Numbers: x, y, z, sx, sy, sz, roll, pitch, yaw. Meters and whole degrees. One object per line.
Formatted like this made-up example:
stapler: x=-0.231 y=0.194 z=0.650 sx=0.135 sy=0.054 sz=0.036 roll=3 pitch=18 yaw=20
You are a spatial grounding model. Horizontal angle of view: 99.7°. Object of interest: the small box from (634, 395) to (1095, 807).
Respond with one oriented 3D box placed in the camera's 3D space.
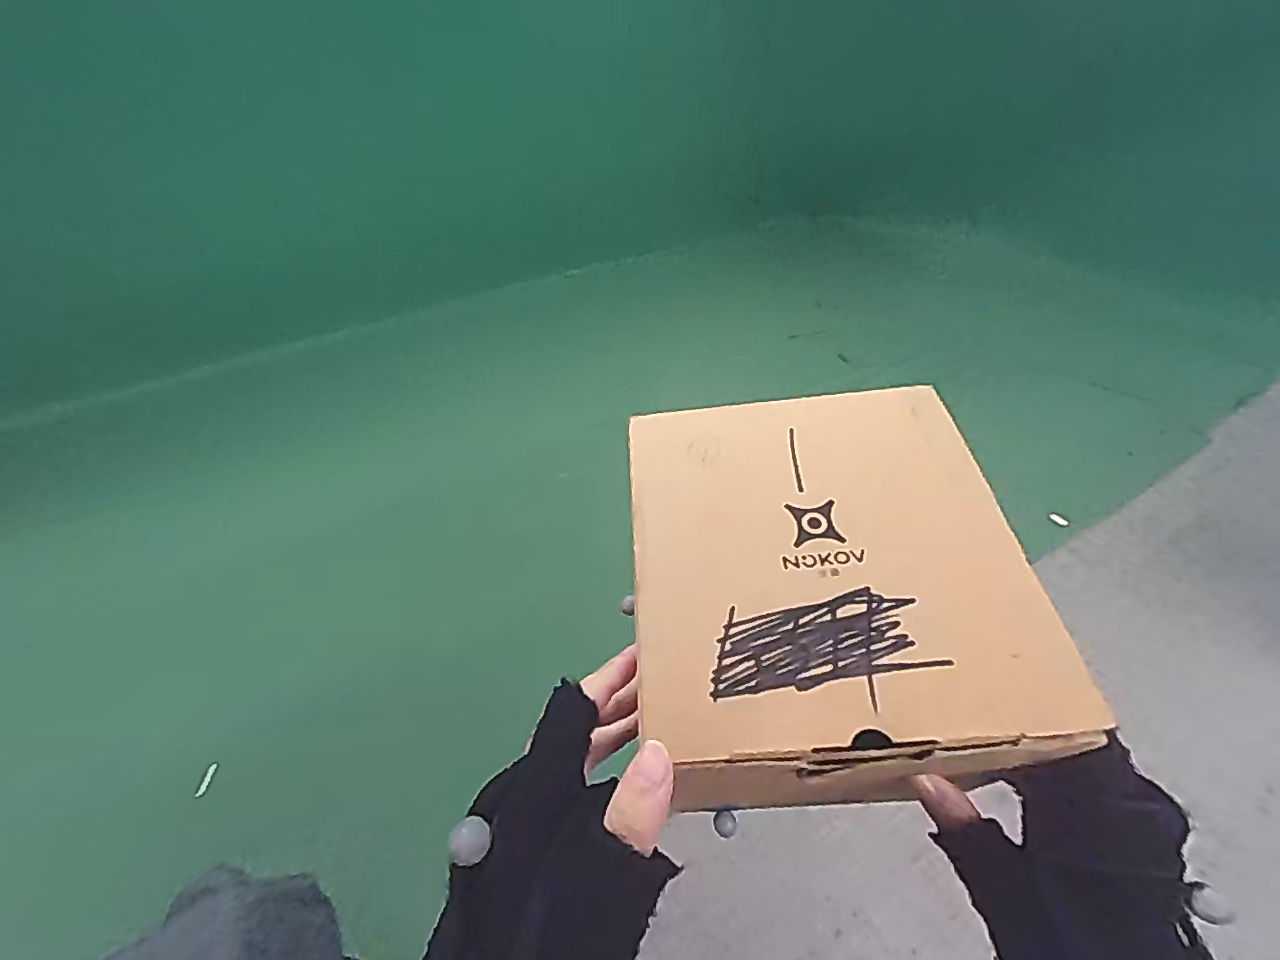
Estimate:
small box: x=0.090 y=0.079 z=0.310 sx=0.168 sy=0.176 sz=0.179 roll=-6 pitch=52 yaw=5
